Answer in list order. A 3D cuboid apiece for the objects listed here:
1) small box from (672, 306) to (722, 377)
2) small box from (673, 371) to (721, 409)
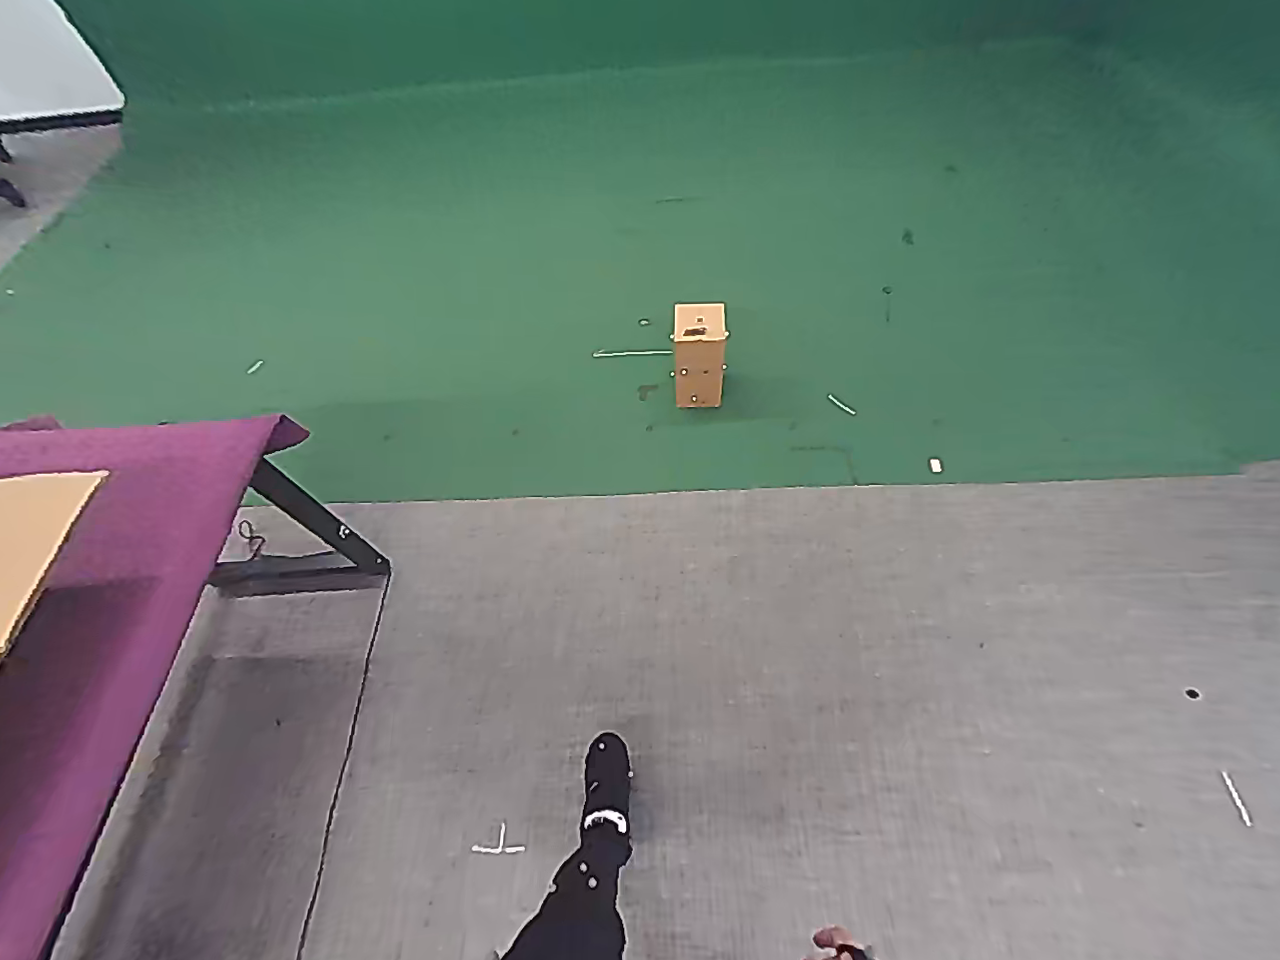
[{"bbox_3d":[0.193,-0.467,1.835,0.168,0.176,0.179,0,58,4],"label":"small box"},{"bbox_3d":[0.205,-0.380,1.974,0.168,0.176,0.179,-1,59,4],"label":"small box"}]
